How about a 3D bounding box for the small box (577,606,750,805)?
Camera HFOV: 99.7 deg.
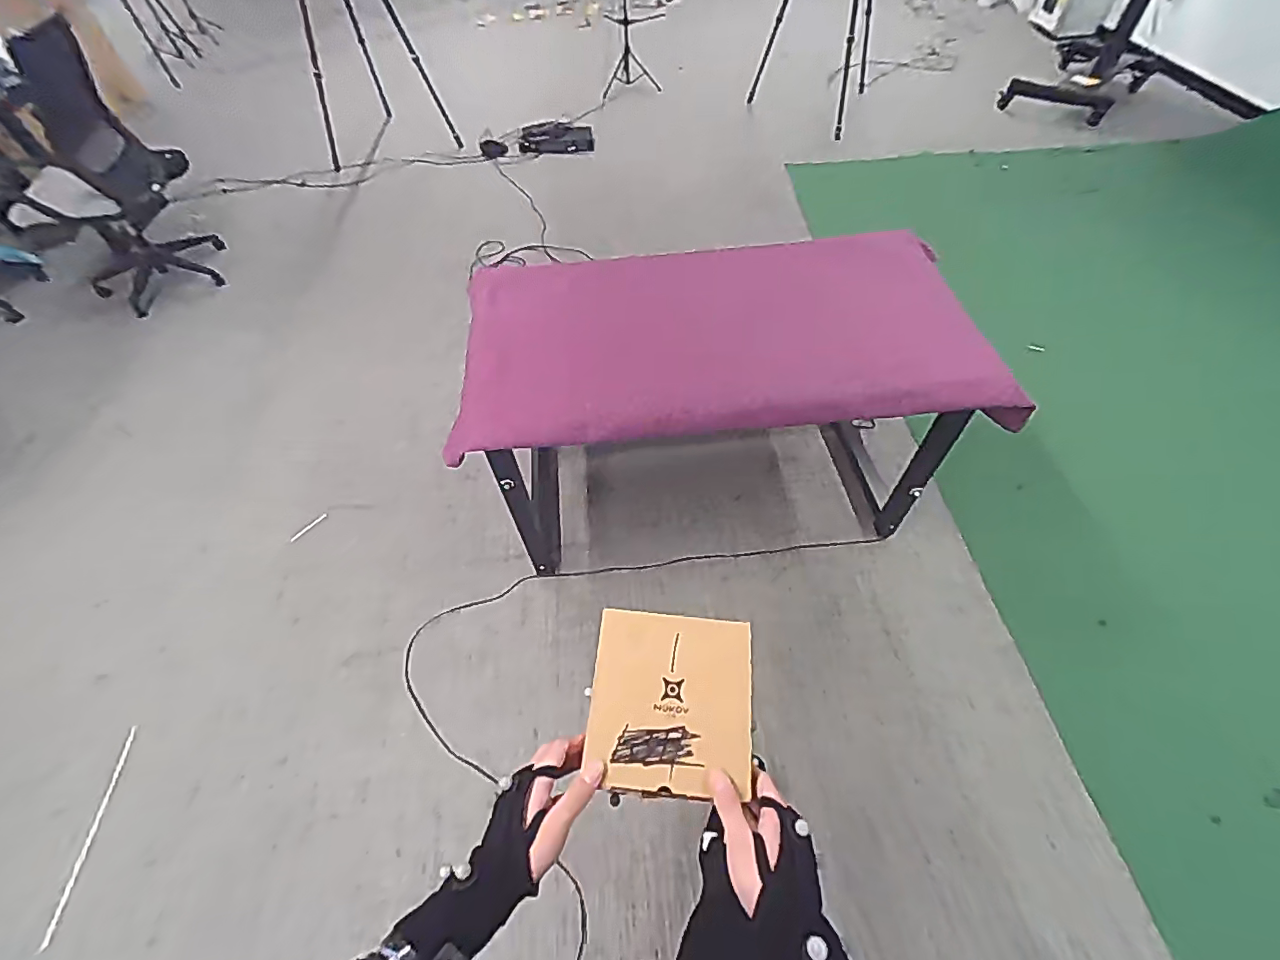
[{"bbox_3d":[0.029,0.263,0.621,0.168,0.176,0.179,6,58,2],"label":"small box"}]
